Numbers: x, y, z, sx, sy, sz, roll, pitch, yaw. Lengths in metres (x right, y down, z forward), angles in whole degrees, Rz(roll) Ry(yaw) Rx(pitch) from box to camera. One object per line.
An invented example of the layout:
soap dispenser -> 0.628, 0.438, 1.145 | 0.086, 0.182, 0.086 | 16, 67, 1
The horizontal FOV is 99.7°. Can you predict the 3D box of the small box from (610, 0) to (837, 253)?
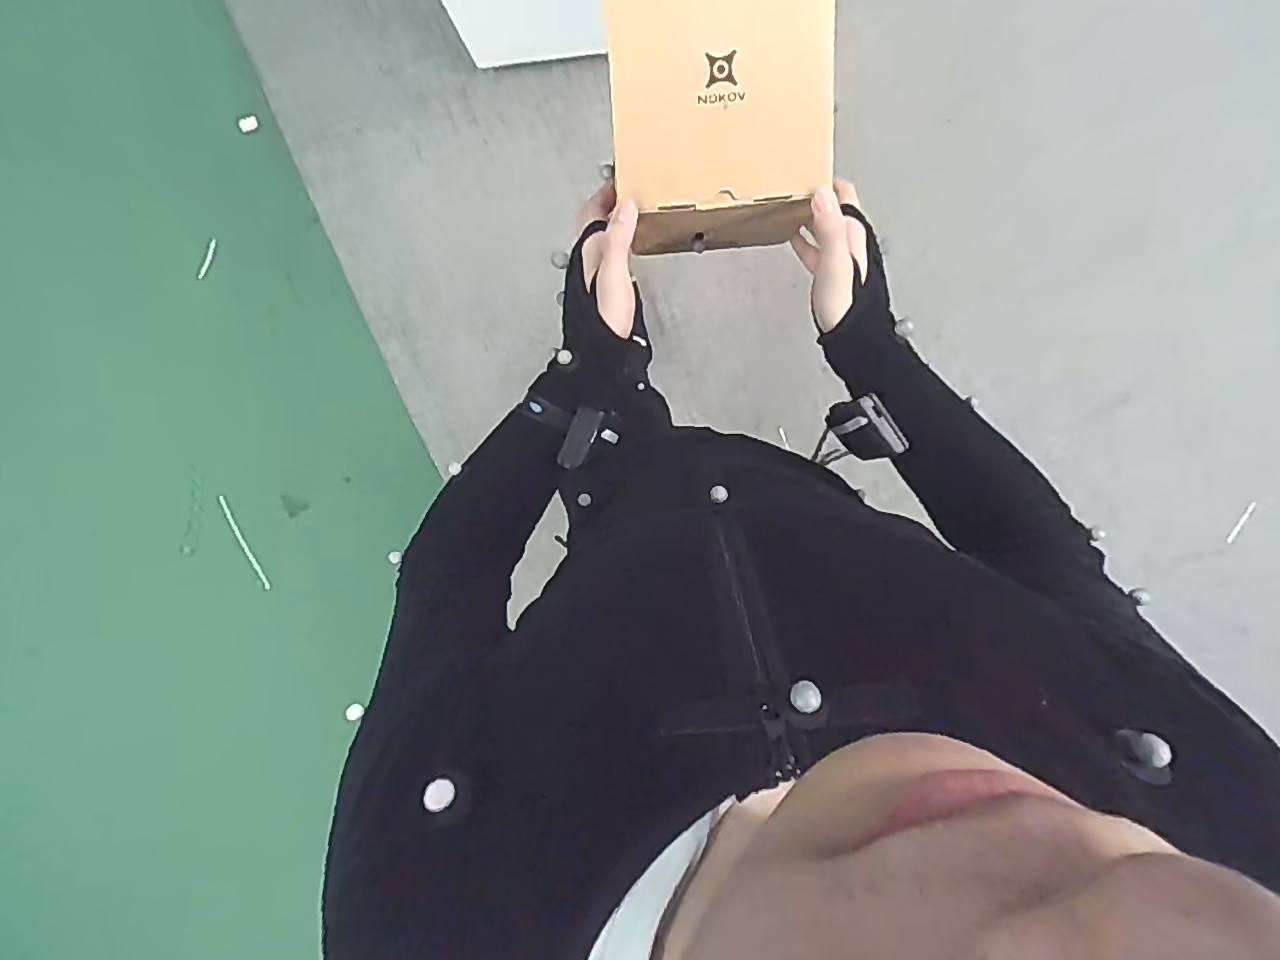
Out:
small box -> 0.064, -0.314, 0.476 | 0.168, 0.176, 0.179 | -3, 103, 3
